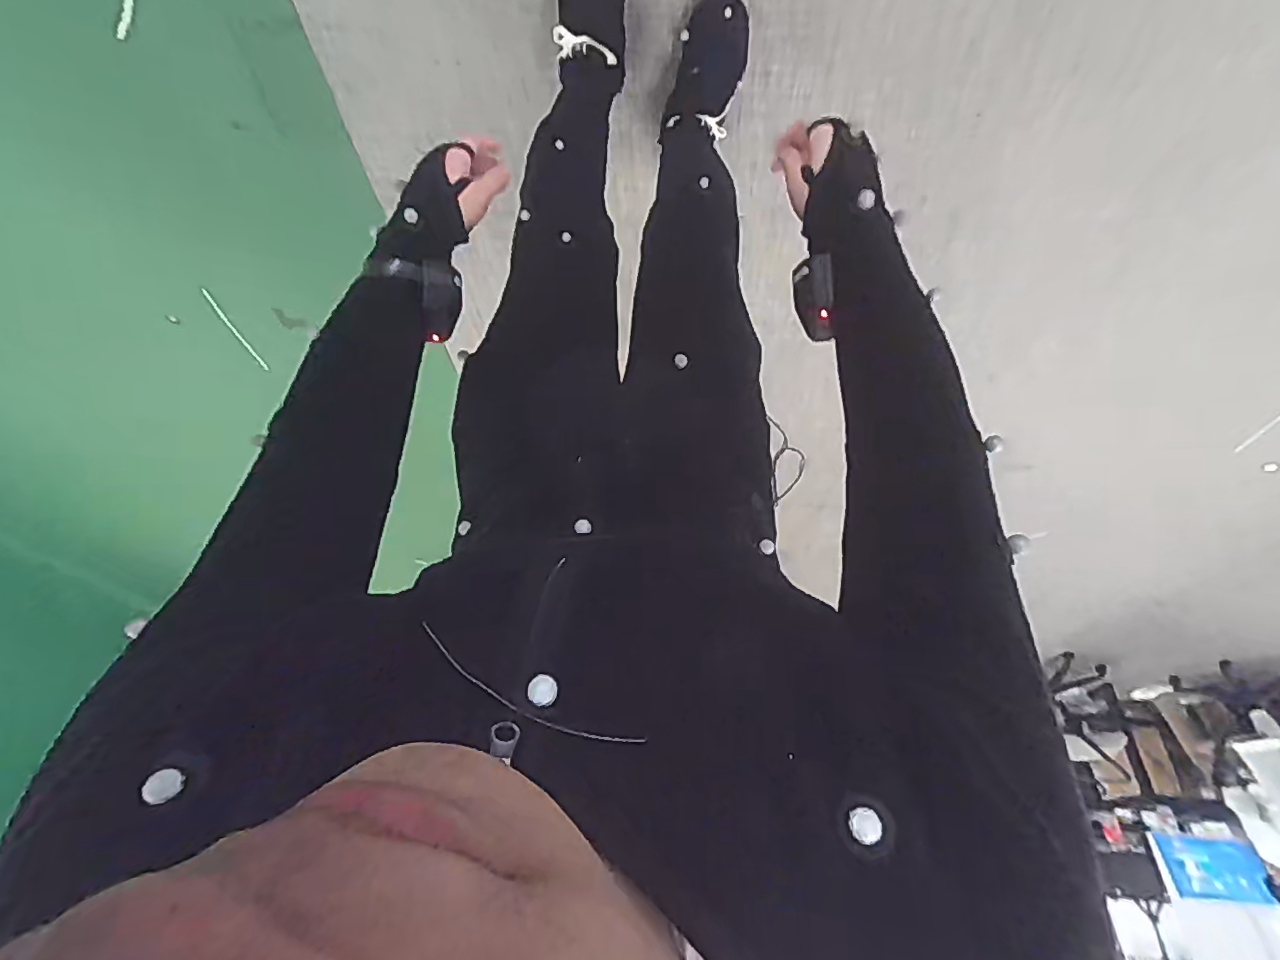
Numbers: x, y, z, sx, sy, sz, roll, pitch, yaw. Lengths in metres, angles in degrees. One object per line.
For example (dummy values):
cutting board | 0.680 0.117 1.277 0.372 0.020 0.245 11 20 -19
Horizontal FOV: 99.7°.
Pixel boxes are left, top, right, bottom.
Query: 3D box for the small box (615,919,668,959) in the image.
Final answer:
small box | 0.006 1.638 1.861 0.179 0.176 0.168 2 146 6
